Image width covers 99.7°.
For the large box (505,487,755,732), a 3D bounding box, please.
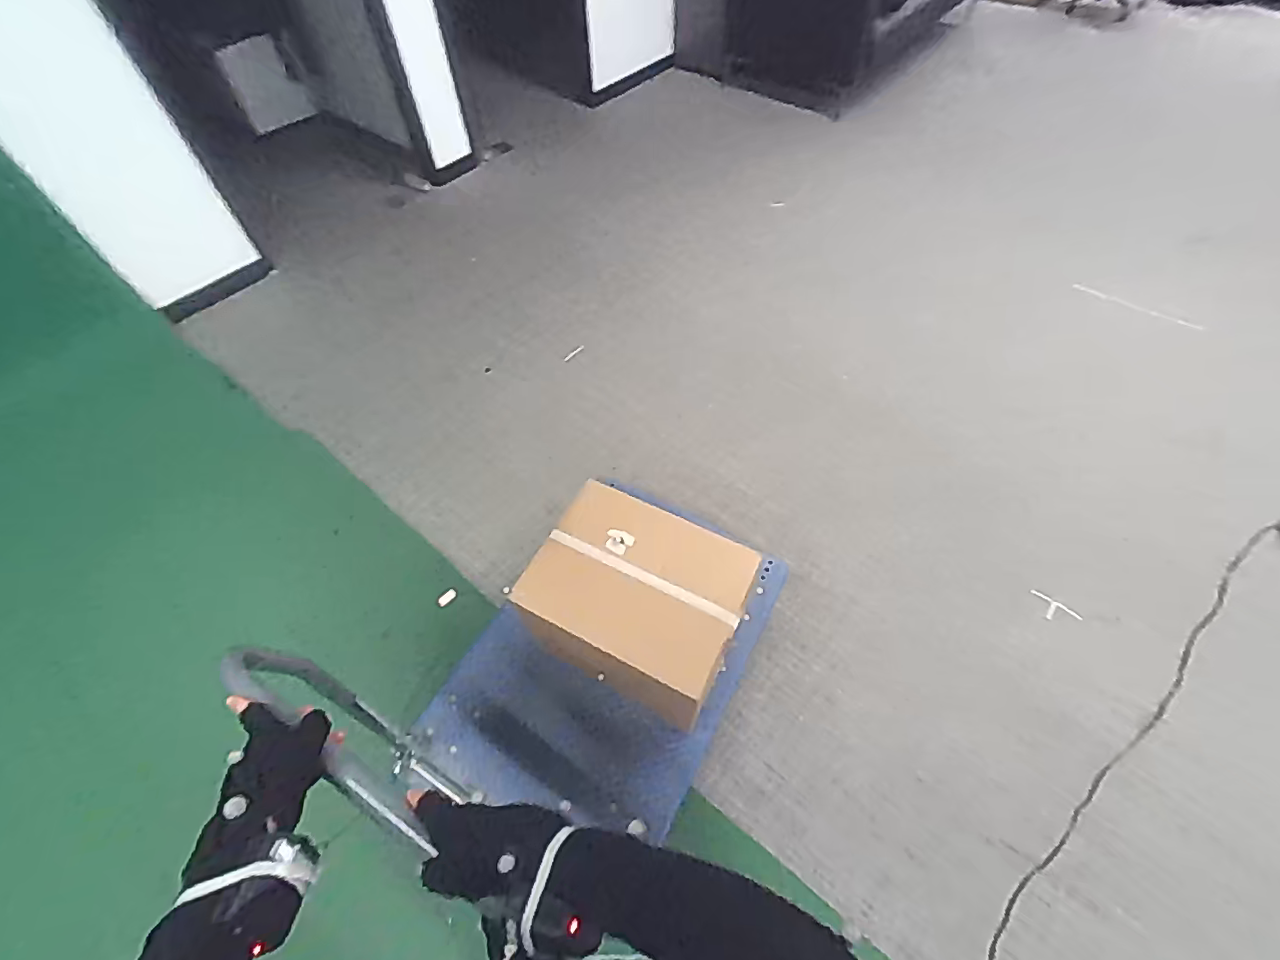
[{"bbox_3d":[-0.008,0.280,1.169,0.408,0.320,0.320,23,58,18],"label":"large box"}]
